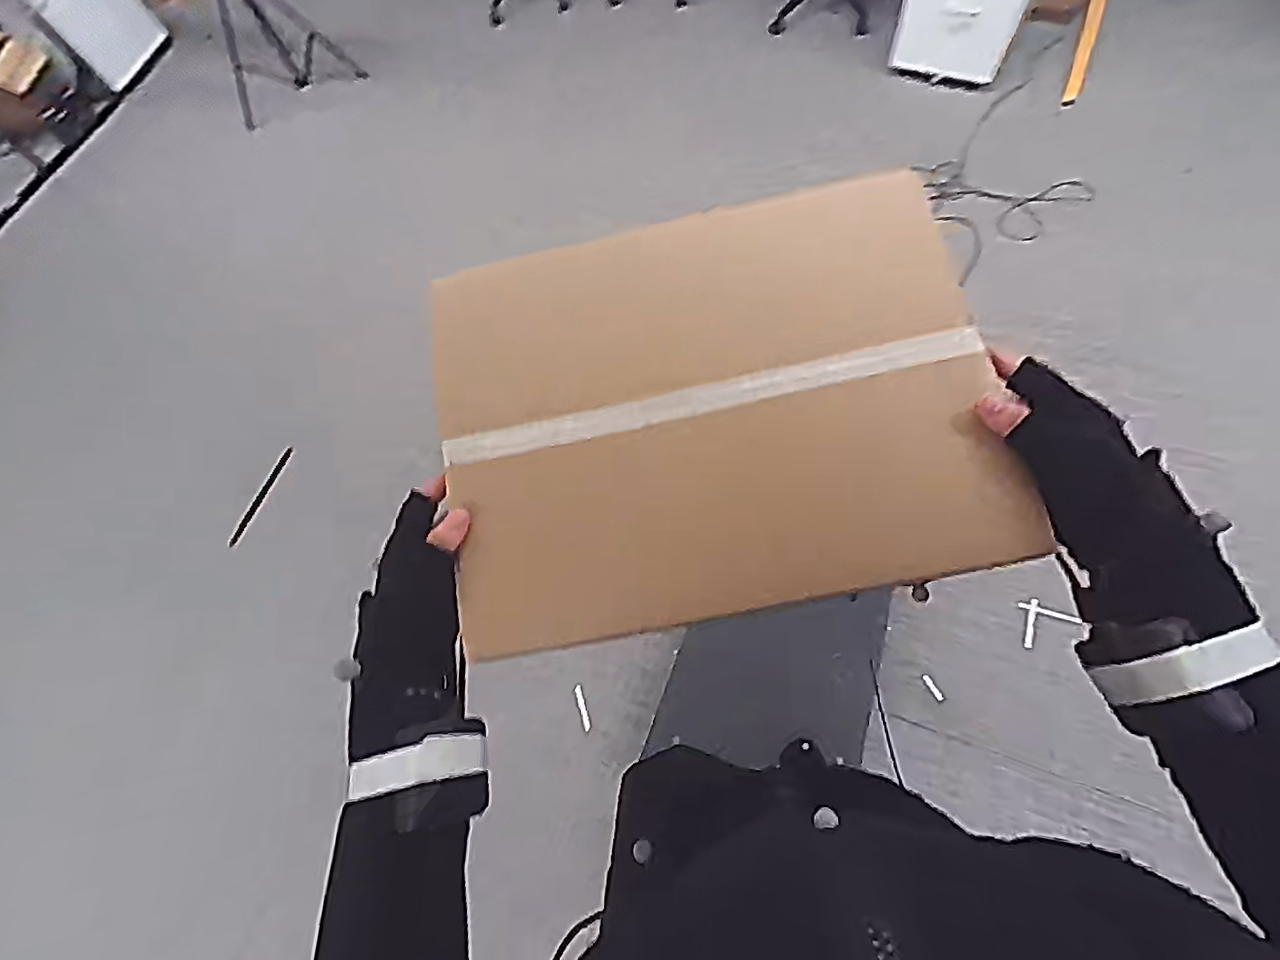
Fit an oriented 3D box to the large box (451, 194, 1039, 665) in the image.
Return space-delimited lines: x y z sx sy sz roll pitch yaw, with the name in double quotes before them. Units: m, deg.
"large box" 0.073 -0.018 0.560 0.408 0.320 0.320 -11 75 4
